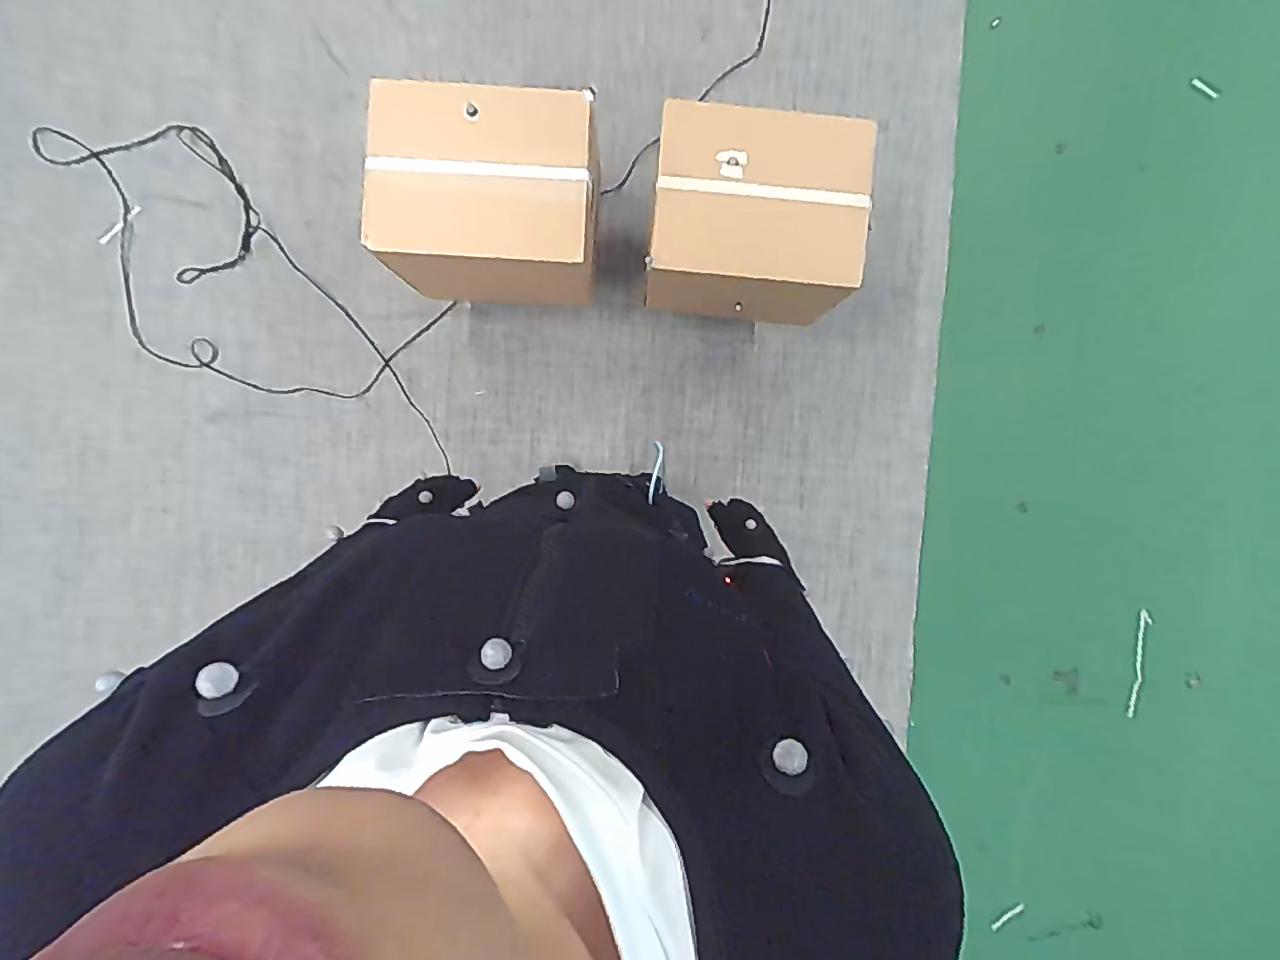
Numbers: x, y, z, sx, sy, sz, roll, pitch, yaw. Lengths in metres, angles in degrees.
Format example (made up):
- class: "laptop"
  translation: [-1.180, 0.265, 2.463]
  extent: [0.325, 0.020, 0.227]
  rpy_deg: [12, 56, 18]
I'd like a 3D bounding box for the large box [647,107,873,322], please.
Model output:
- class: "large box"
  translation: [0.232, -0.543, 1.175]
  extent: [0.408, 0.320, 0.320]
  rpy_deg: [5, 92, -1]
